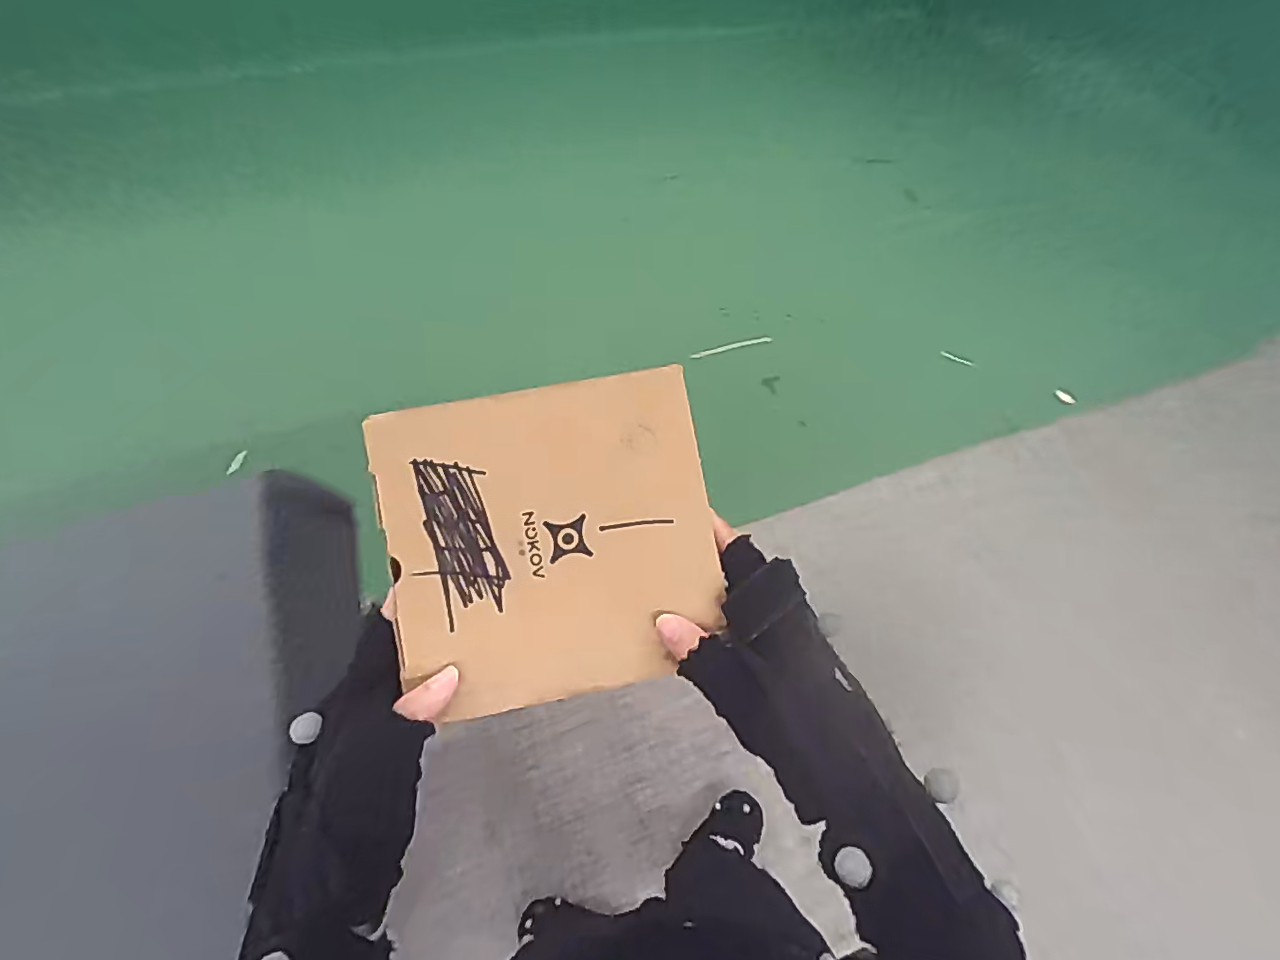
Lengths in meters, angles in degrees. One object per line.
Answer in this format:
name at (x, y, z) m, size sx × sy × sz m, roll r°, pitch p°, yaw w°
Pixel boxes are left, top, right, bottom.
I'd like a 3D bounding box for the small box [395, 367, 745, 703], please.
small box at (-0.044, 0.034, 0.379) m, size 0.179 × 0.176 × 0.168 m, roll -9°, pitch 86°, yaw -5°
